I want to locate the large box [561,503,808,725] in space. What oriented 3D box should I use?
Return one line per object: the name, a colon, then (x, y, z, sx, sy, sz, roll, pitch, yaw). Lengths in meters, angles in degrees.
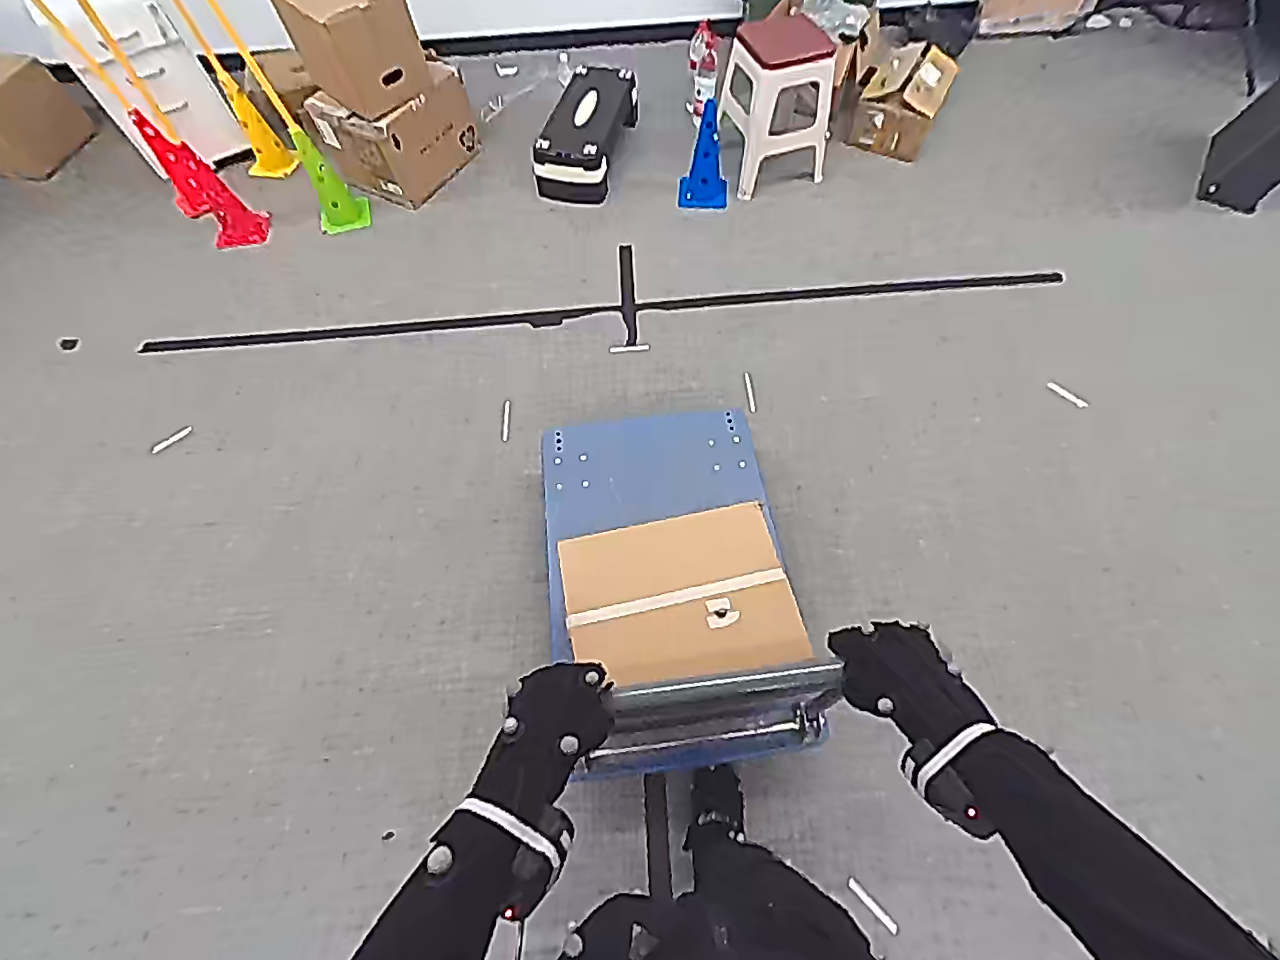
large box: (0.072, 0.289, 1.130, 0.408, 0.320, 0.320, -12, 62, -6)
